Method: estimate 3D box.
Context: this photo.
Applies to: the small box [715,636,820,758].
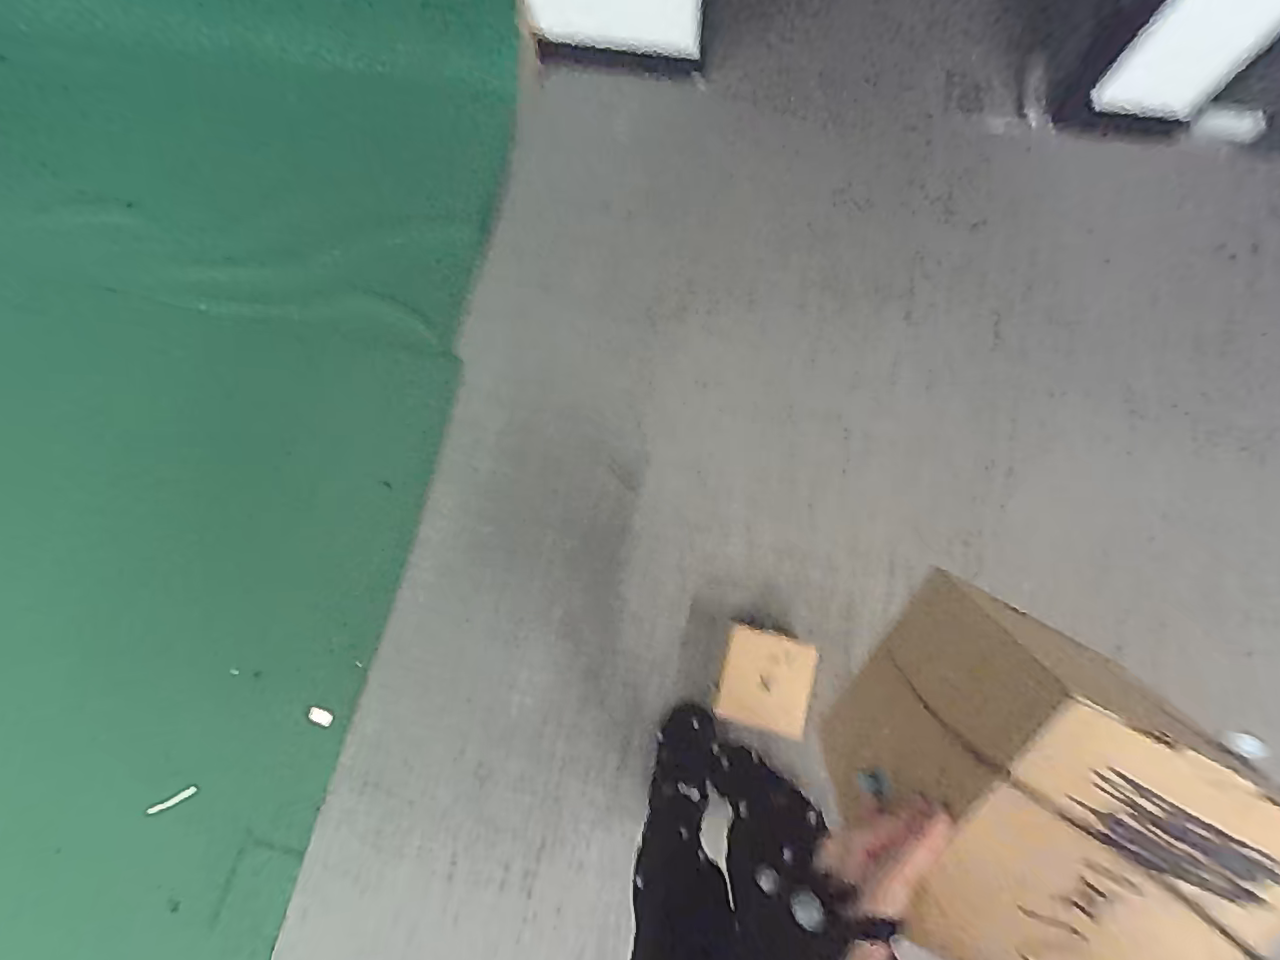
[{"bbox_3d":[0.252,0.432,1.108,0.168,0.176,0.179,14,79,7],"label":"small box"}]
